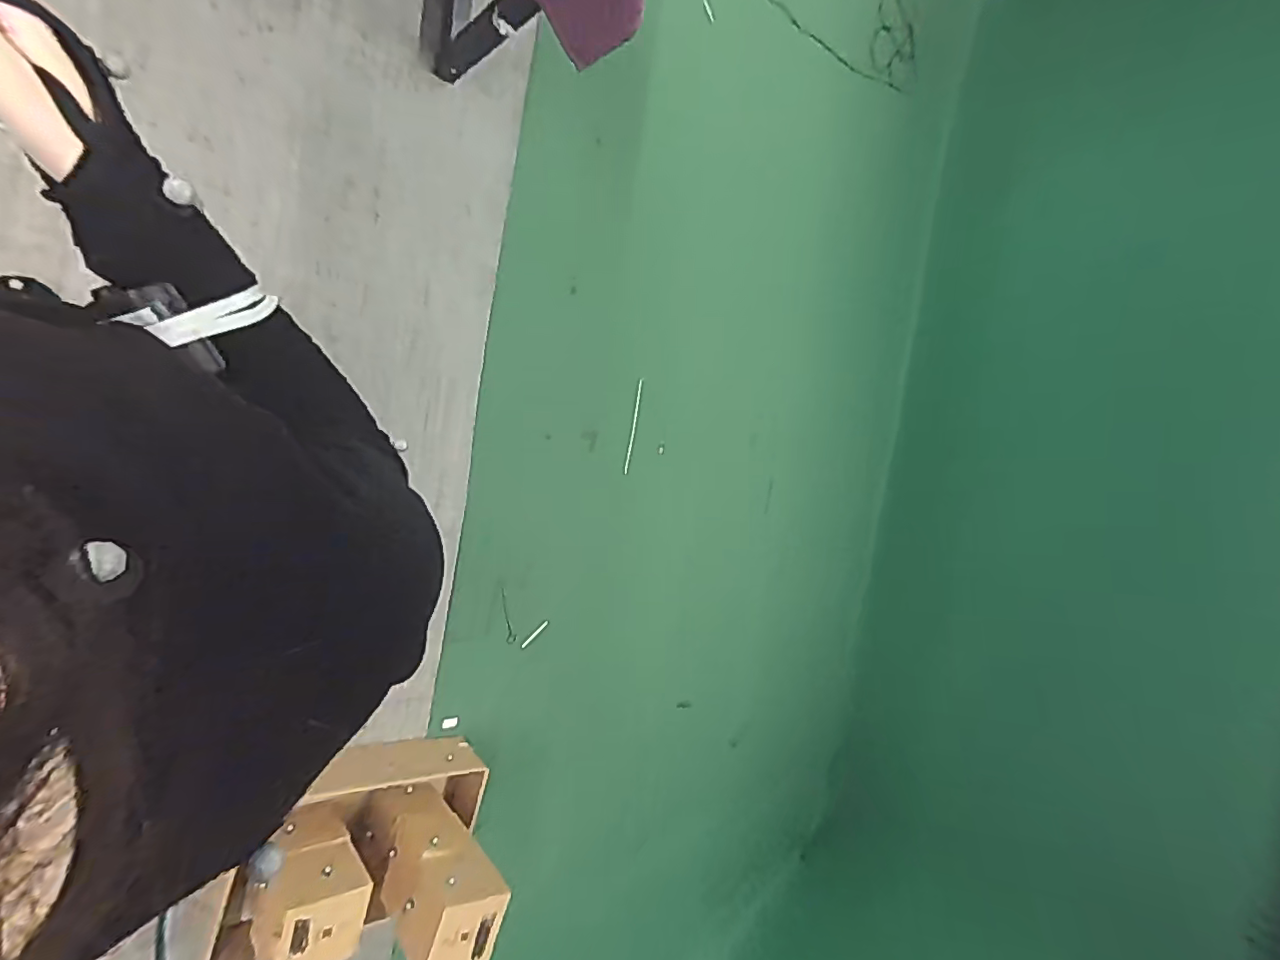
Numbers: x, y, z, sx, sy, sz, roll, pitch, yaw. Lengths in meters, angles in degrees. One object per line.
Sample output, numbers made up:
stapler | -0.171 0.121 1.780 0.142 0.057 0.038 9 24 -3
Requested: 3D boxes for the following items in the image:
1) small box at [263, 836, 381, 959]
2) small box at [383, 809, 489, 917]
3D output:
small box | -0.722 0.953 1.222 0.179 0.176 0.168 16 87 -45
small box | -0.534 0.988 1.411 0.179 0.176 0.168 31 78 -39
